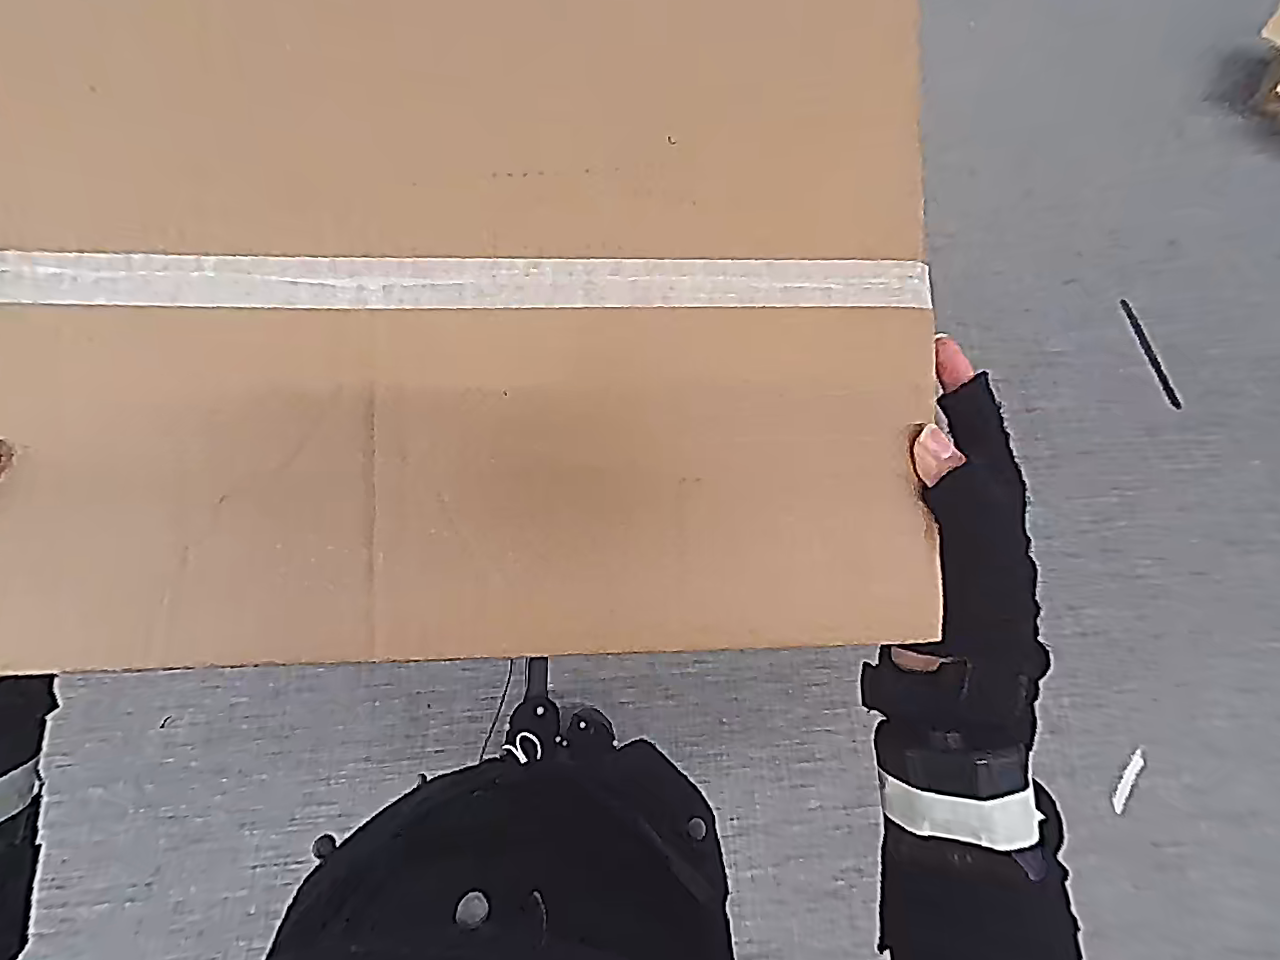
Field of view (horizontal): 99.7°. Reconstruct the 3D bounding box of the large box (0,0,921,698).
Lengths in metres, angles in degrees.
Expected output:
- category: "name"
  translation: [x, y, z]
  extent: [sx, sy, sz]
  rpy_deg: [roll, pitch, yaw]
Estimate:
- category: "large box"
  translation: [-0.081, -0.064, 0.384]
  extent: [0.408, 0.320, 0.320]
  rpy_deg: [-1, 87, -4]
